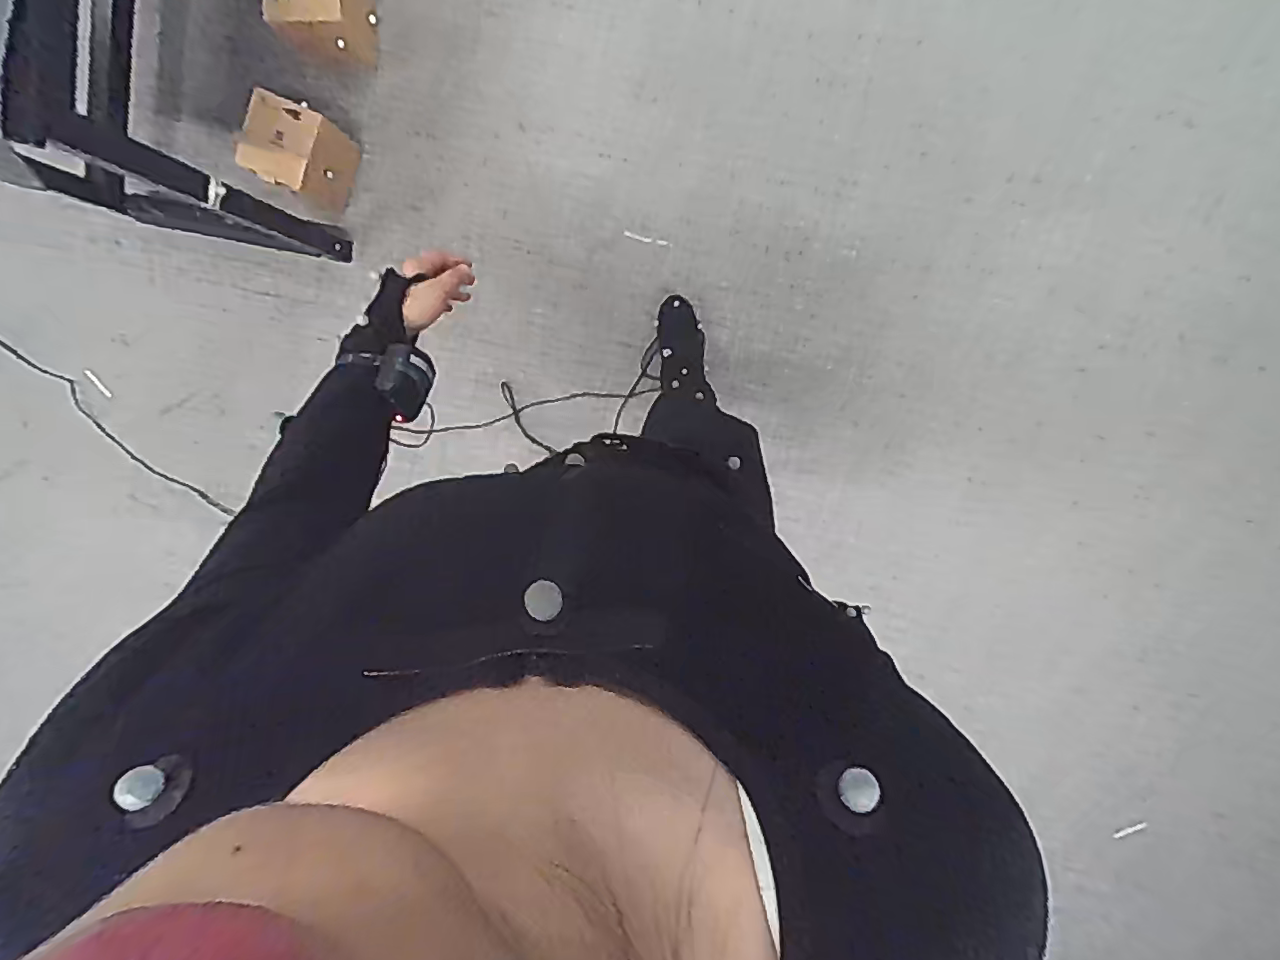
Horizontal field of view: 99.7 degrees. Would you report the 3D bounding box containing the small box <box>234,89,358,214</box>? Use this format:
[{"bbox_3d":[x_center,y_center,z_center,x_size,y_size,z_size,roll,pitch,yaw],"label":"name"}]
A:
[{"bbox_3d":[-0.812,-0.772,1.294,0.168,0.176,0.179,24,100,-2],"label":"small box"}]
